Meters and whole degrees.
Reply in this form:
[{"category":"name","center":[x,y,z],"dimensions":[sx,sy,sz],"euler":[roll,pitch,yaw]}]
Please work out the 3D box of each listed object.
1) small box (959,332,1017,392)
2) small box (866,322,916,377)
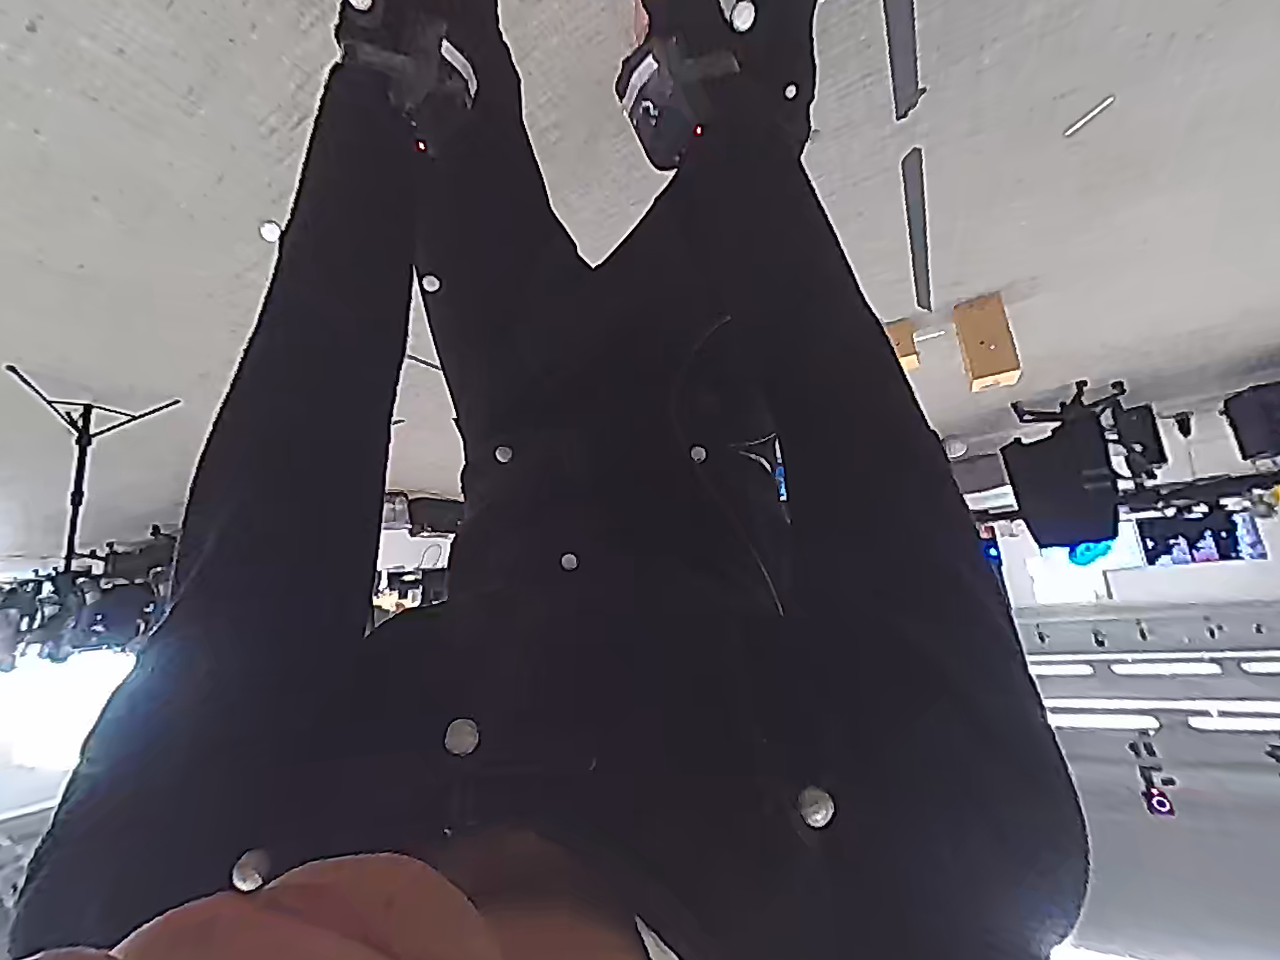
[{"category":"small box","center":[1.418,-0.481,2.212],"dimensions":[0.168,0.176,0.179],"euler":[-12,166,26]},{"category":"small box","center":[1.113,-0.582,2.398],"dimensions":[0.168,0.176,0.179],"euler":[-13,167,30]}]
